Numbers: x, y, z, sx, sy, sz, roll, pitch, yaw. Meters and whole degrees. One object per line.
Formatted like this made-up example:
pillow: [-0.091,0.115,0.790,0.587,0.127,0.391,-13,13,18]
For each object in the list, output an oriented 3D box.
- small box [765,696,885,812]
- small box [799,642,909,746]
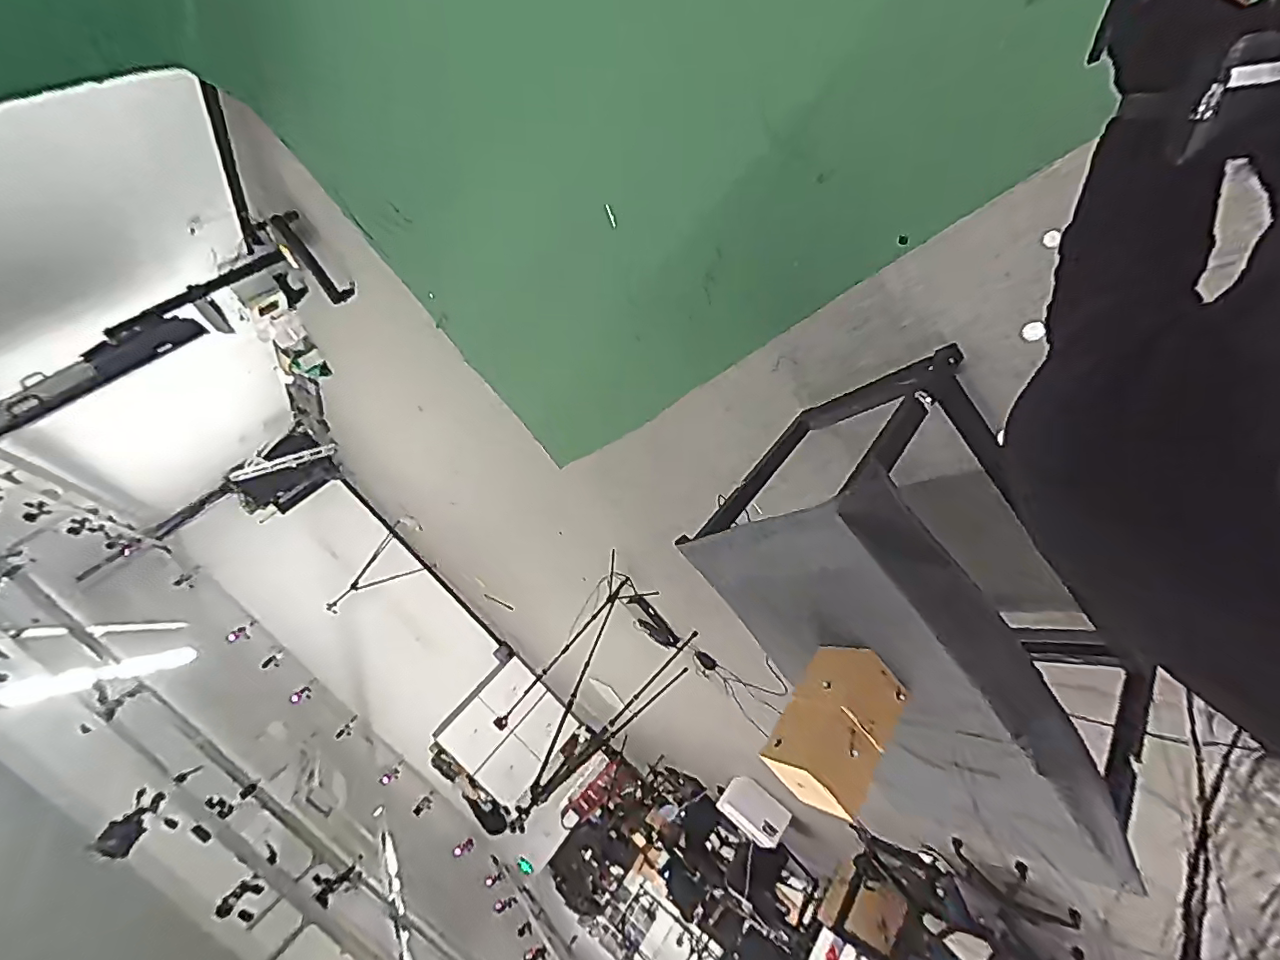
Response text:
small box: [0.443,0.641,1.291,0.168,0.176,0.179,48,151,-7]
small box: [0.542,0.526,1.355,0.168,0.176,0.179,49,152,-8]
